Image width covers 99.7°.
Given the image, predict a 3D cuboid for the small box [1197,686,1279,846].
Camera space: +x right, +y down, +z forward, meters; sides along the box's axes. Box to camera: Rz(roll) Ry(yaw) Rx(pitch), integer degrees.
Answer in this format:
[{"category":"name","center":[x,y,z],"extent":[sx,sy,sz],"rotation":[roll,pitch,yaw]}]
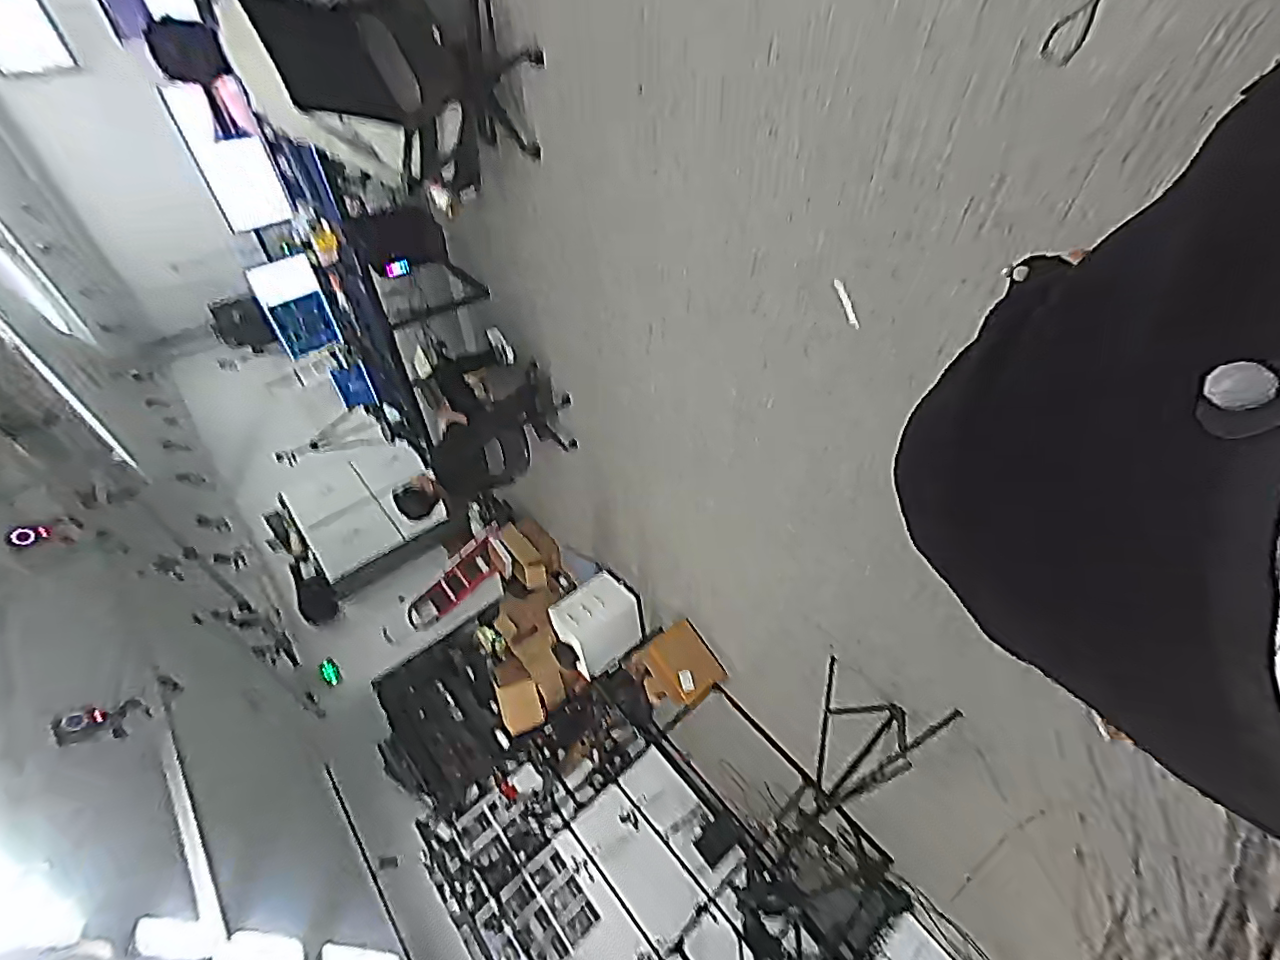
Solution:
[{"category":"small box","center":[1.017,0.446,0.817],"extent":[0.168,0.176,0.179],"rotation":[36,141,33]}]
